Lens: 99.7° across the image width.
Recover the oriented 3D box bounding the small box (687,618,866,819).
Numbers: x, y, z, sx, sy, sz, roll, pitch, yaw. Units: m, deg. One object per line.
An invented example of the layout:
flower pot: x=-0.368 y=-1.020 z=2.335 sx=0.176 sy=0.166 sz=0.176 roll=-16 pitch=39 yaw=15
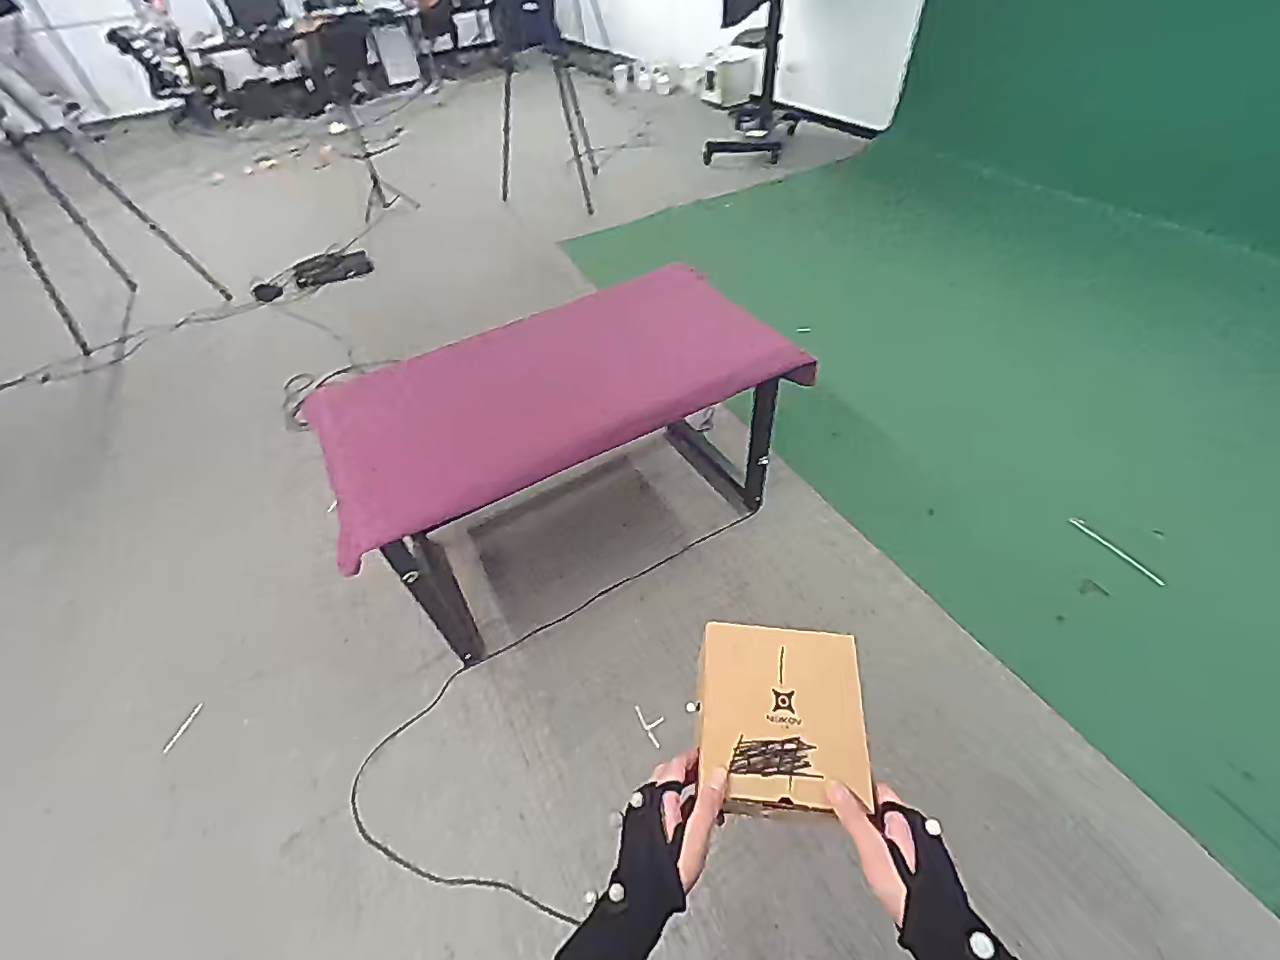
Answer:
small box: x=0.143 y=0.278 z=0.623 sx=0.168 sy=0.176 sz=0.179 roll=4 pitch=55 yaw=4
